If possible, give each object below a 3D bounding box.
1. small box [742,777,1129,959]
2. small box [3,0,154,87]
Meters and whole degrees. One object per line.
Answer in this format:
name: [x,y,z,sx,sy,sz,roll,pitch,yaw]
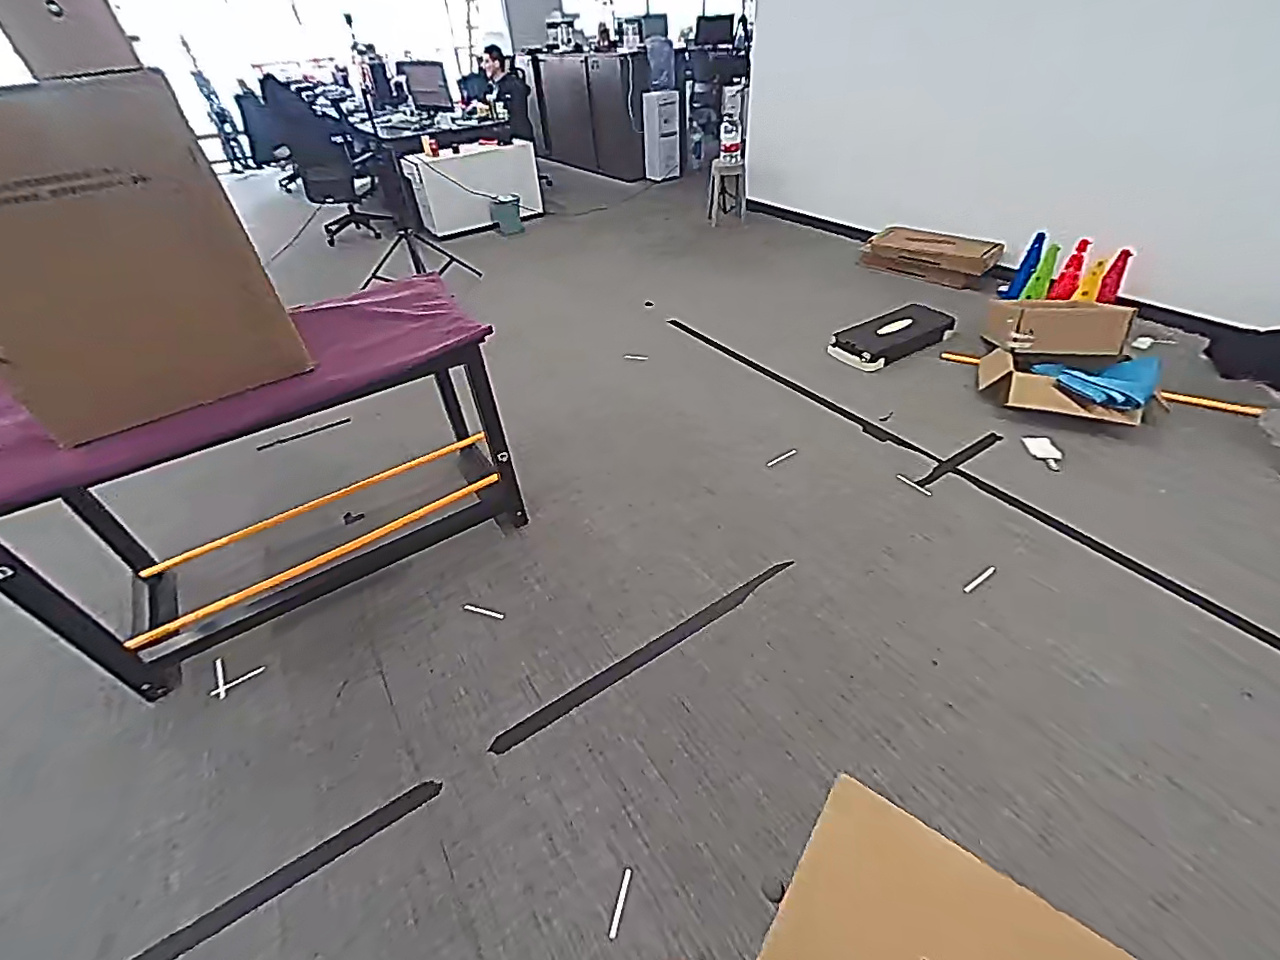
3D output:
small box: [0.151,0.333,0.321,0.179,0.176,0.168,24,40,29]
small box: [-1.135,-0.908,1.096,0.168,0.176,0.179,-27,45,-23]
